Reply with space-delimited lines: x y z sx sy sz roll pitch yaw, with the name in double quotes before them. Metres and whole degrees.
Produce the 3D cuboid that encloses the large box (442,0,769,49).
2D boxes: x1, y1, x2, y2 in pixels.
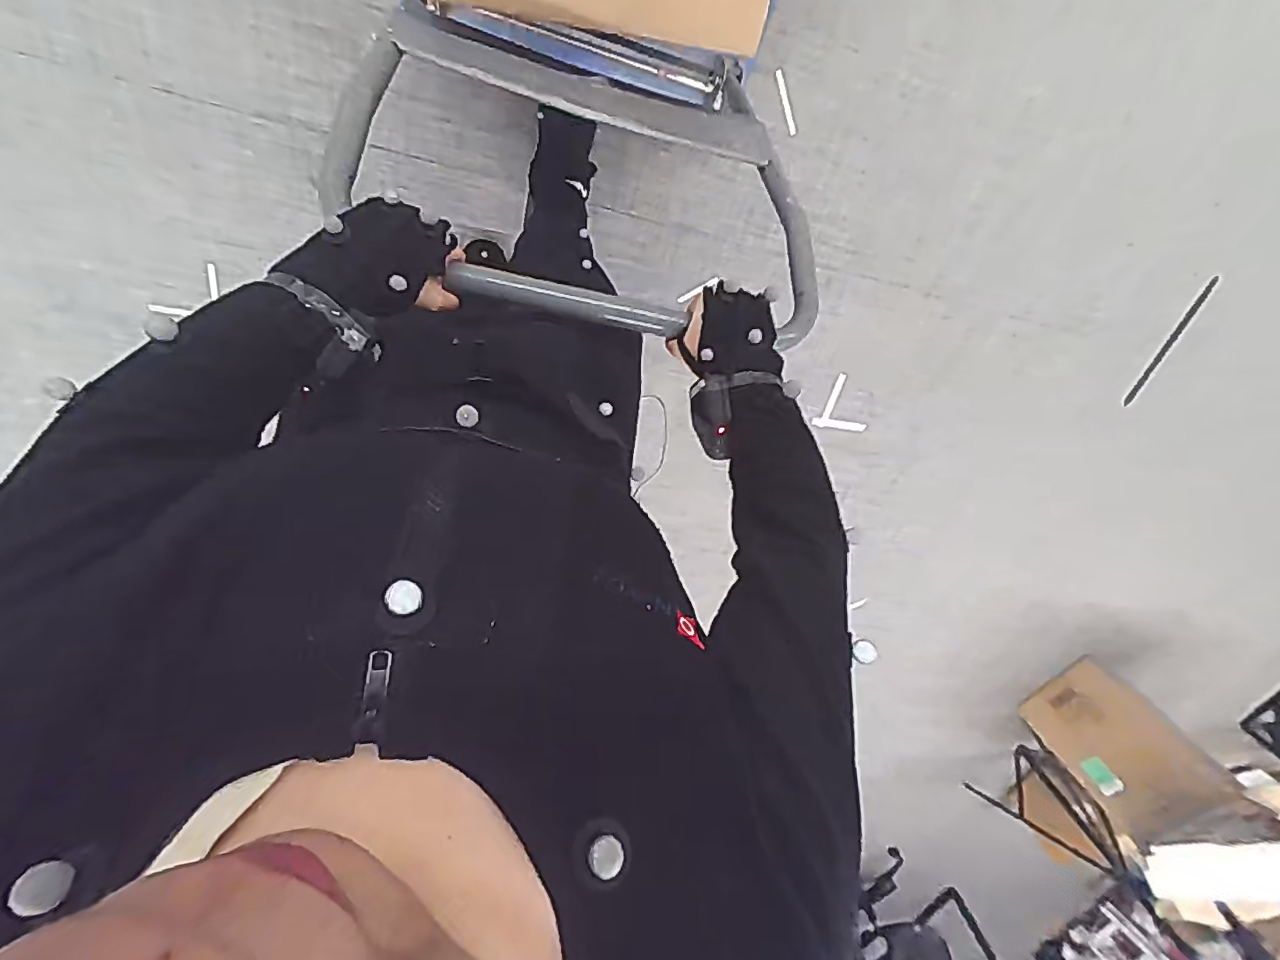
"large box" -0.040 -0.762 0.629 0.408 0.320 0.320 1 143 -11
